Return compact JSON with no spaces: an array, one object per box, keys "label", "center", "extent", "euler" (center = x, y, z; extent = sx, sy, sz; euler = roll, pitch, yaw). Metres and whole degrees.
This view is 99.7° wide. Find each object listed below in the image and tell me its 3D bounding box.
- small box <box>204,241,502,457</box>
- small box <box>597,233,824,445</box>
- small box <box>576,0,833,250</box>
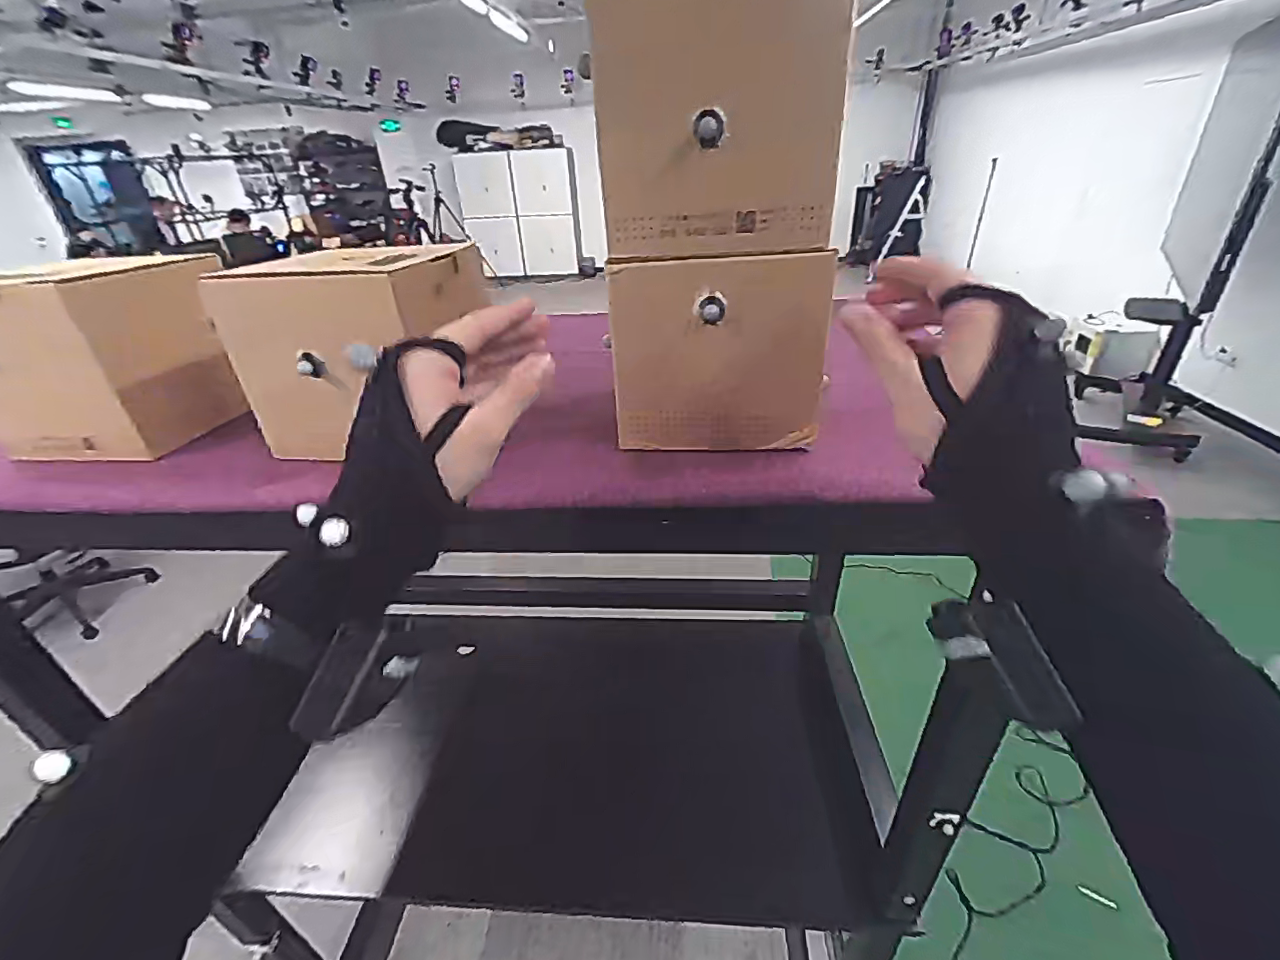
[{"label":"small box","center":[-0.256,-0.131,0.536],"extent":[0.179,0.176,0.168],"euler":[1,30,10]},{"label":"small box","center":[0.068,-0.141,0.516],"extent":[0.179,0.176,0.168],"euler":[1,31,9]},{"label":"small box","center":[0.056,-0.286,0.439],"extent":[0.168,0.176,0.179],"euler":[0,31,8]}]
